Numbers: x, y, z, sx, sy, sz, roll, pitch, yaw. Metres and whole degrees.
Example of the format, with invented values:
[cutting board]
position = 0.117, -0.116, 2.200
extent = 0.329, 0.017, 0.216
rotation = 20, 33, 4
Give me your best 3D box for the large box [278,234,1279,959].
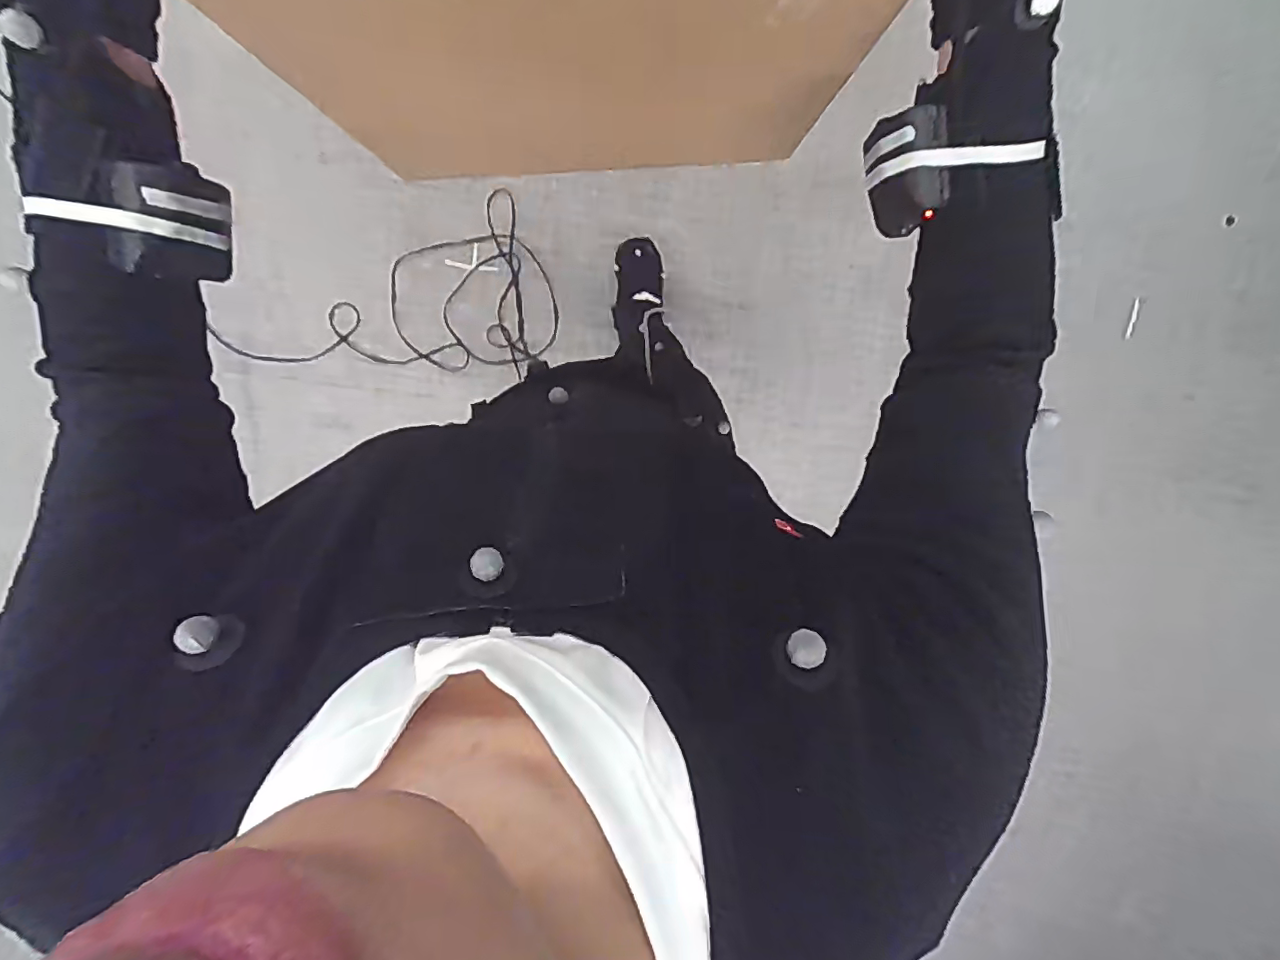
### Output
[large box]
position = 0.119, 0.118, 0.321
extent = 0.320, 0.320, 0.408
rotation = 15, 70, 30
